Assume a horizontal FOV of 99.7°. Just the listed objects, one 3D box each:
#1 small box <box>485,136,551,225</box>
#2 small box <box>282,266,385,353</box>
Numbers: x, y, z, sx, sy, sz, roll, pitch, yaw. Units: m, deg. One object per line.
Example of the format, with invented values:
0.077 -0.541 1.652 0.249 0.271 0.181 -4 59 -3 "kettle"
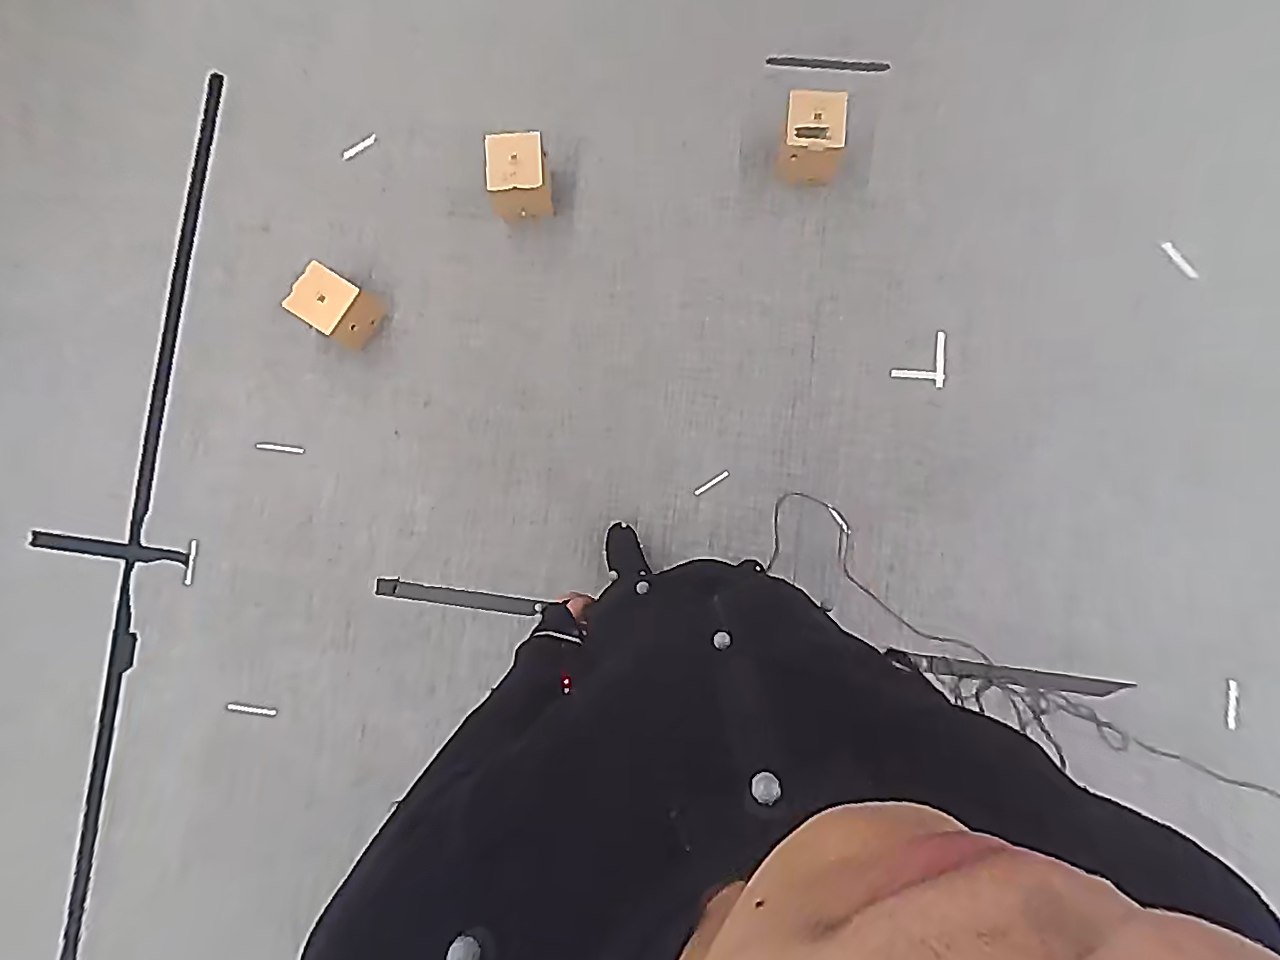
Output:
-0.371 -0.915 1.661 0.168 0.176 0.179 -4 86 1 "small box"
-0.922 -0.509 1.646 0.179 0.176 0.168 32 87 4 "small box"
